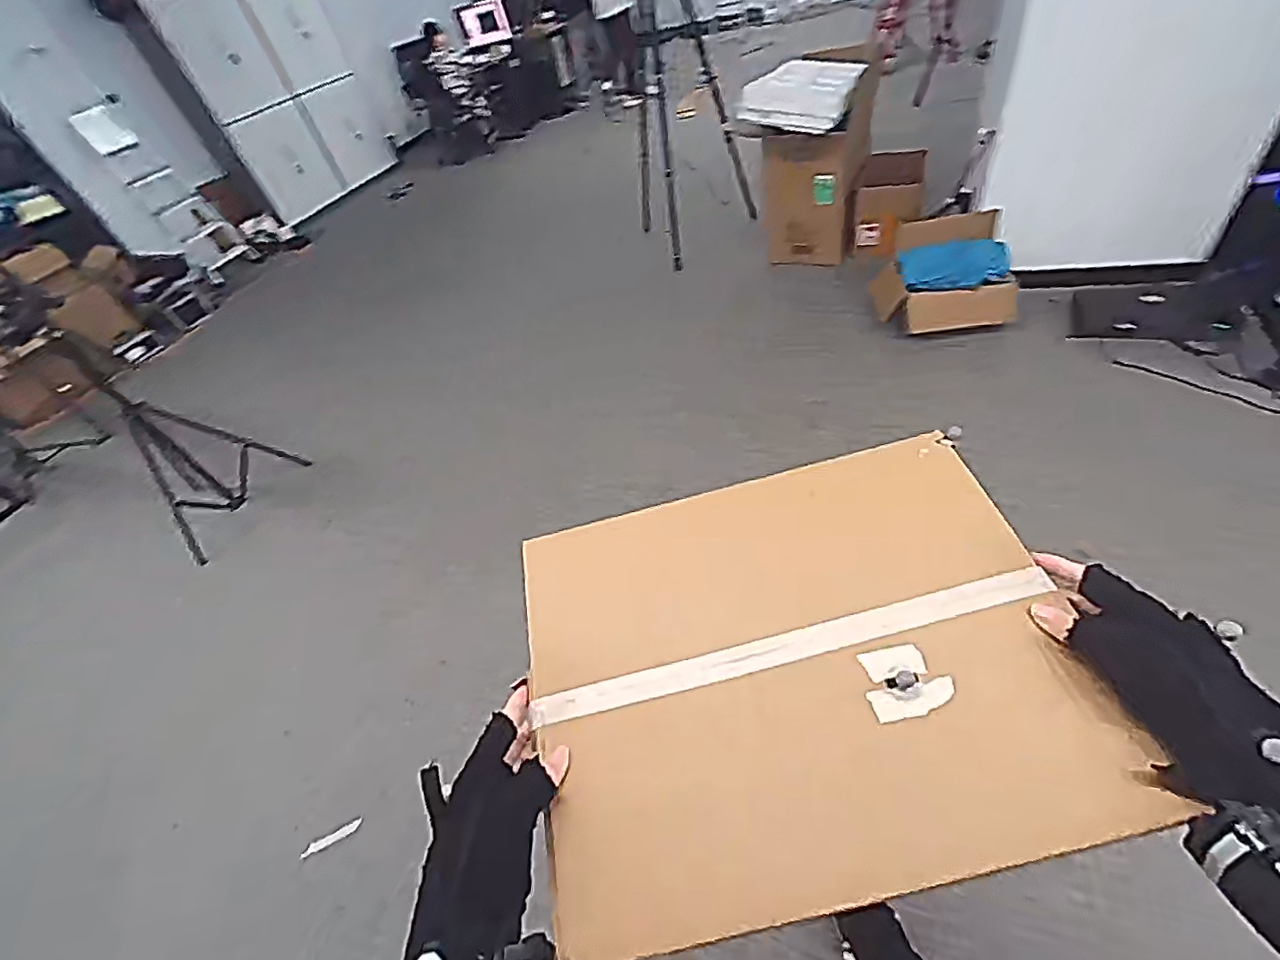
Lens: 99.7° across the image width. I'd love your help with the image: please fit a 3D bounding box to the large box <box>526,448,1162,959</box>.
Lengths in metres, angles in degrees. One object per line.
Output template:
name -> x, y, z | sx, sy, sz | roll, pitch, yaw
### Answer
large box -> 0.135, 0.226, 0.550 | 0.408, 0.320, 0.320 | -16, 54, 0
